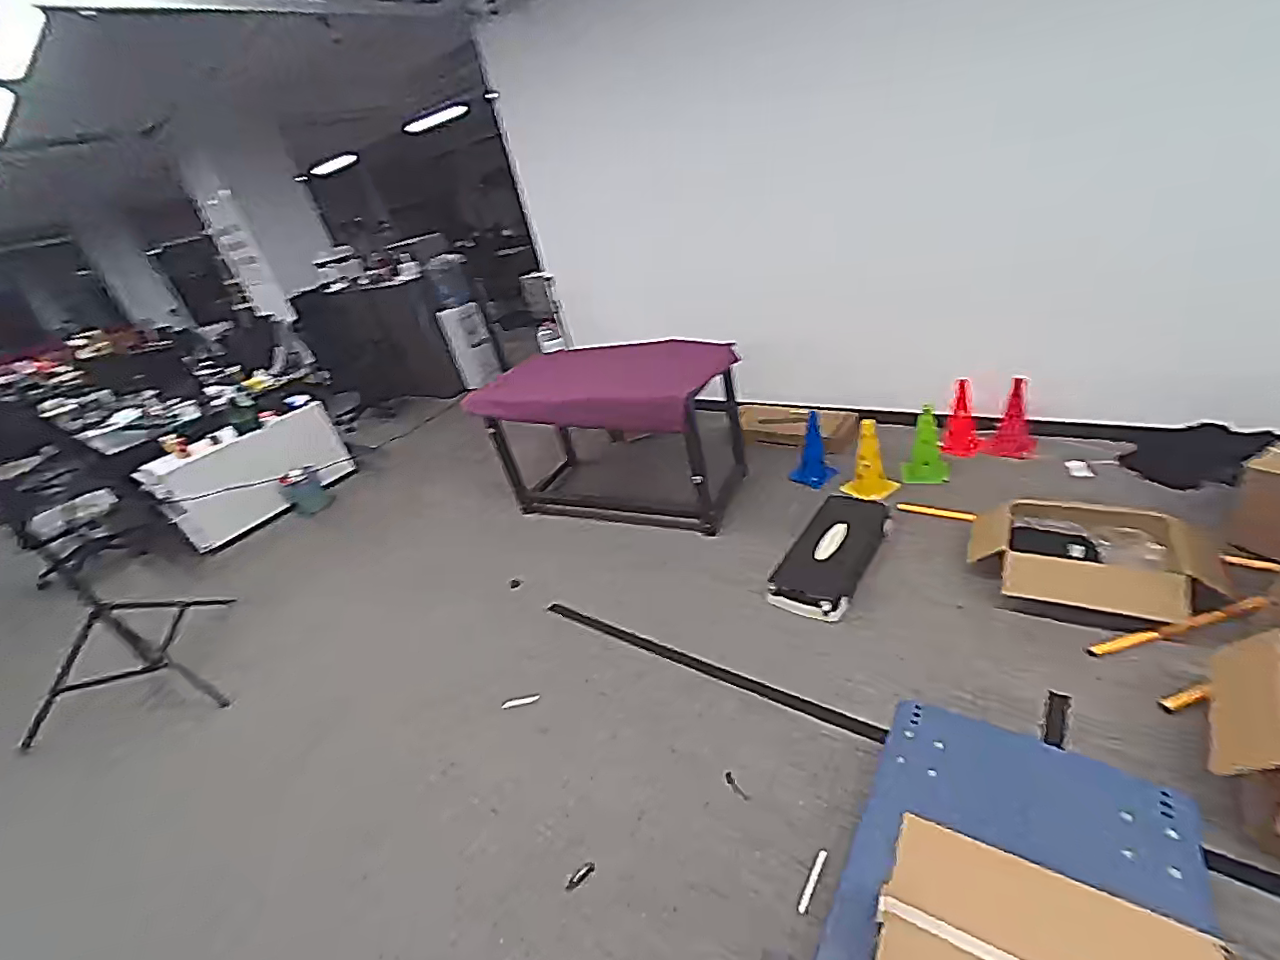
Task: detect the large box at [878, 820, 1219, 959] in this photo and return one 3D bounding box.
[{"bbox_3d":[0.586,0.830,0.828,0.408,0.320,0.320,9,37,32],"label":"large box"}]
